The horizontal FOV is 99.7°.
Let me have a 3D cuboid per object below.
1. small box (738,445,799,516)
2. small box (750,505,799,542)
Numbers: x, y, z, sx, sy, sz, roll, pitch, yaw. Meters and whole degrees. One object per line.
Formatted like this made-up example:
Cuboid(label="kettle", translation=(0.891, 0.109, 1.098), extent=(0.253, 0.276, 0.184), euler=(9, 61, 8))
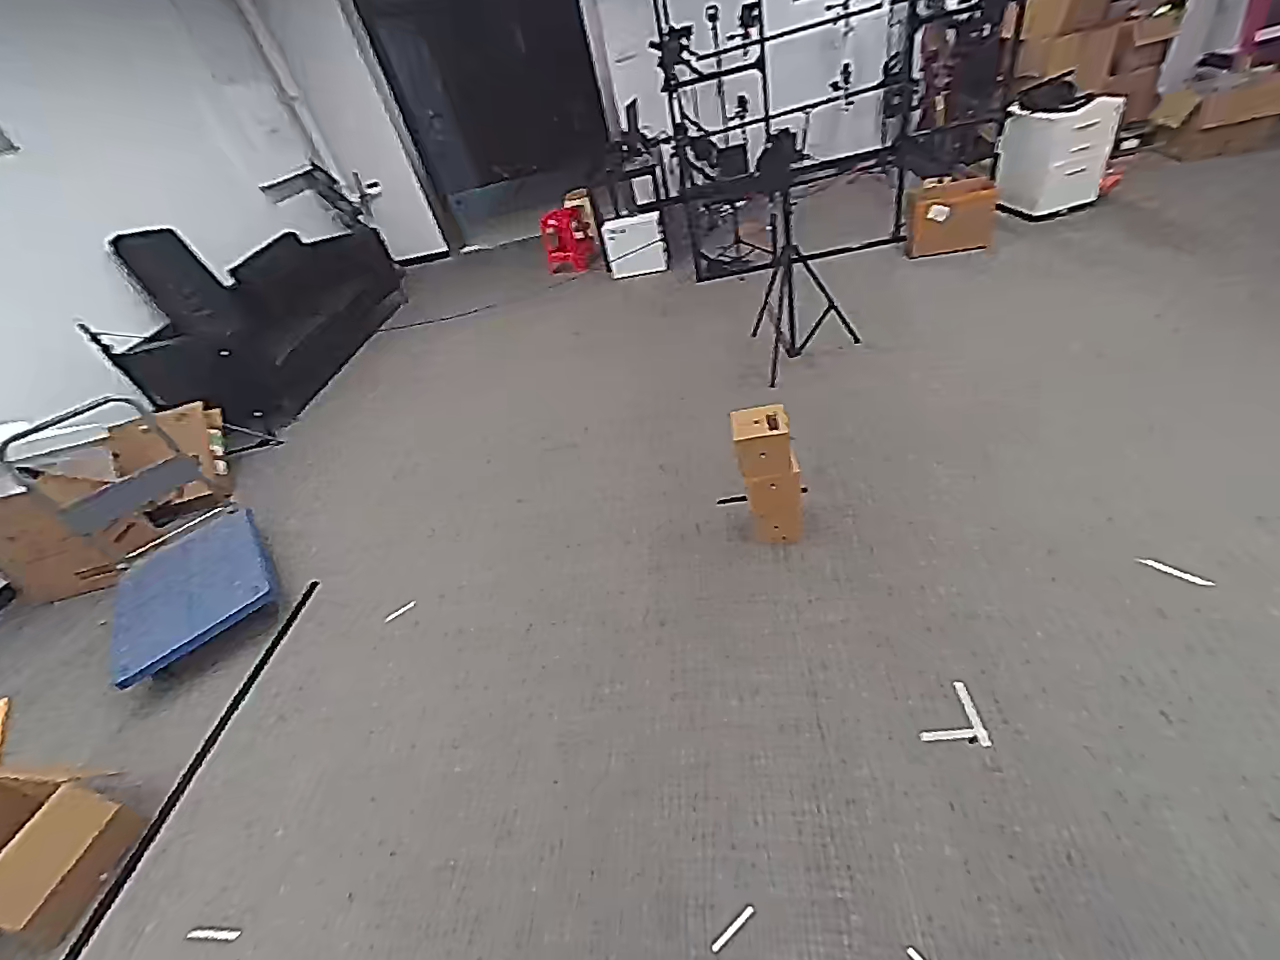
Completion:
Cuboid(label="small box", translation=(0.454, 0.005, 1.907), extent=(0.179, 0.176, 0.168), euler=(-12, 39, 7))
Cuboid(label="small box", translation=(0.497, 0.119, 2.014), extent=(0.168, 0.176, 0.179), euler=(-6, 39, 13))
